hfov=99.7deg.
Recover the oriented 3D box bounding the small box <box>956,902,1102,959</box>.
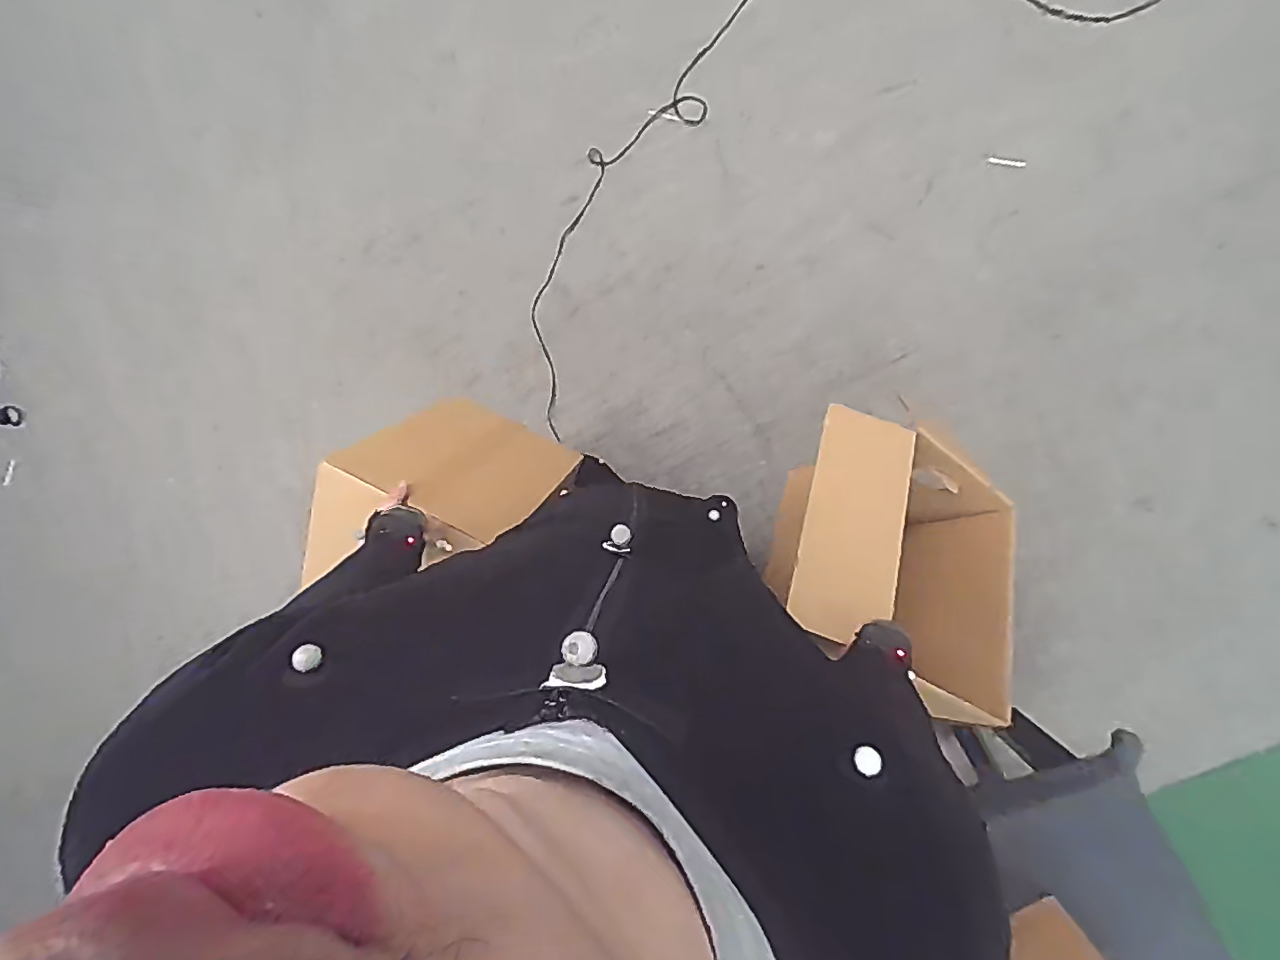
[{"bbox_3d":[0.569,0.718,0.722,0.168,0.176,0.179,-35,91,9],"label":"small box"}]
